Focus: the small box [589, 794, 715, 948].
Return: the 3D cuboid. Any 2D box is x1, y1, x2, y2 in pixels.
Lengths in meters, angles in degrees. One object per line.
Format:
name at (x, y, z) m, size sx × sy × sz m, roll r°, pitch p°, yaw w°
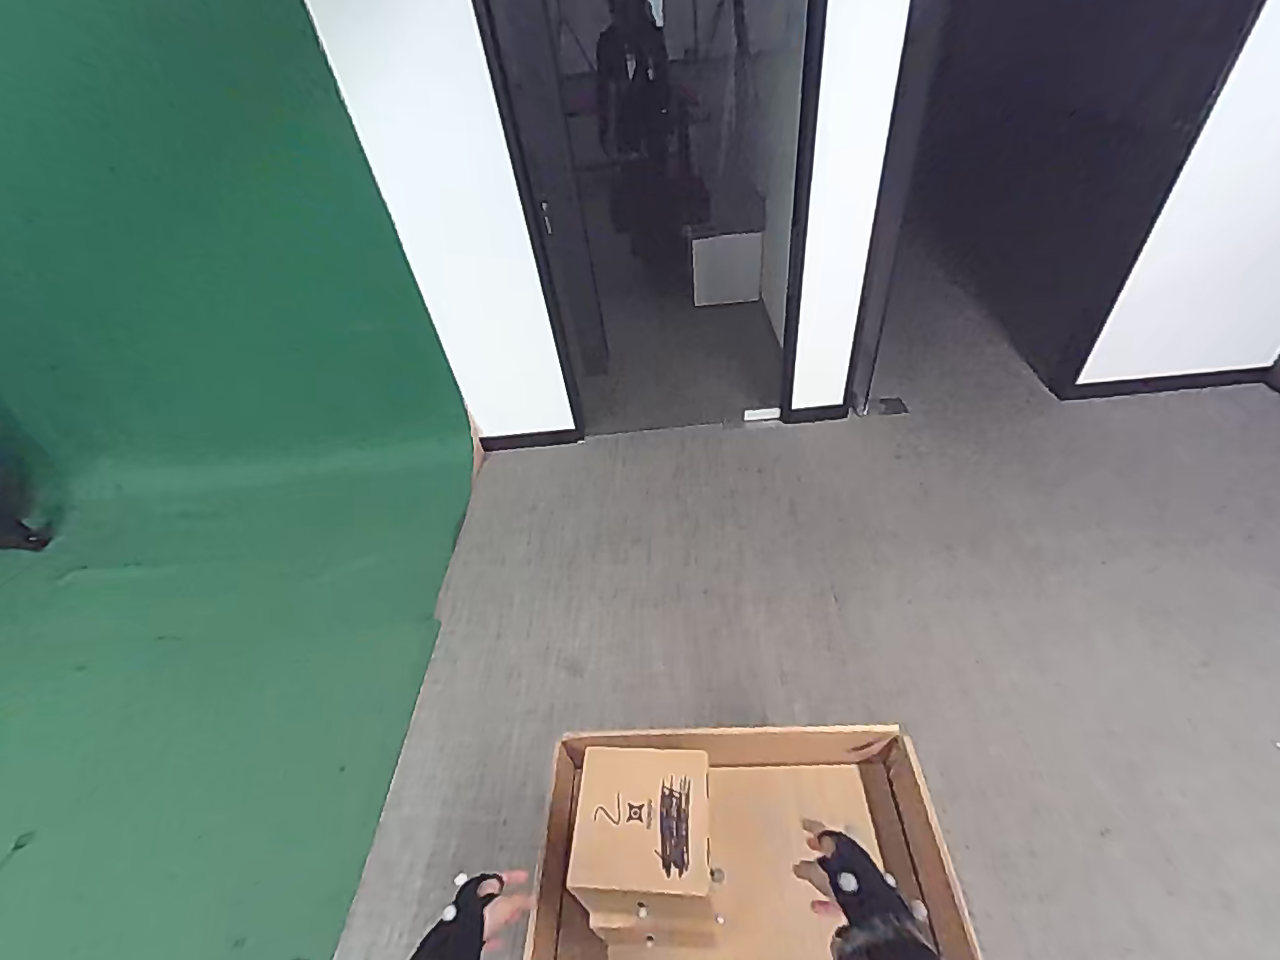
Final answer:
small box at (0.027, 0.616, 0.852) m, size 0.179 × 0.176 × 0.168 m, roll -3°, pitch 42°, yaw 7°
